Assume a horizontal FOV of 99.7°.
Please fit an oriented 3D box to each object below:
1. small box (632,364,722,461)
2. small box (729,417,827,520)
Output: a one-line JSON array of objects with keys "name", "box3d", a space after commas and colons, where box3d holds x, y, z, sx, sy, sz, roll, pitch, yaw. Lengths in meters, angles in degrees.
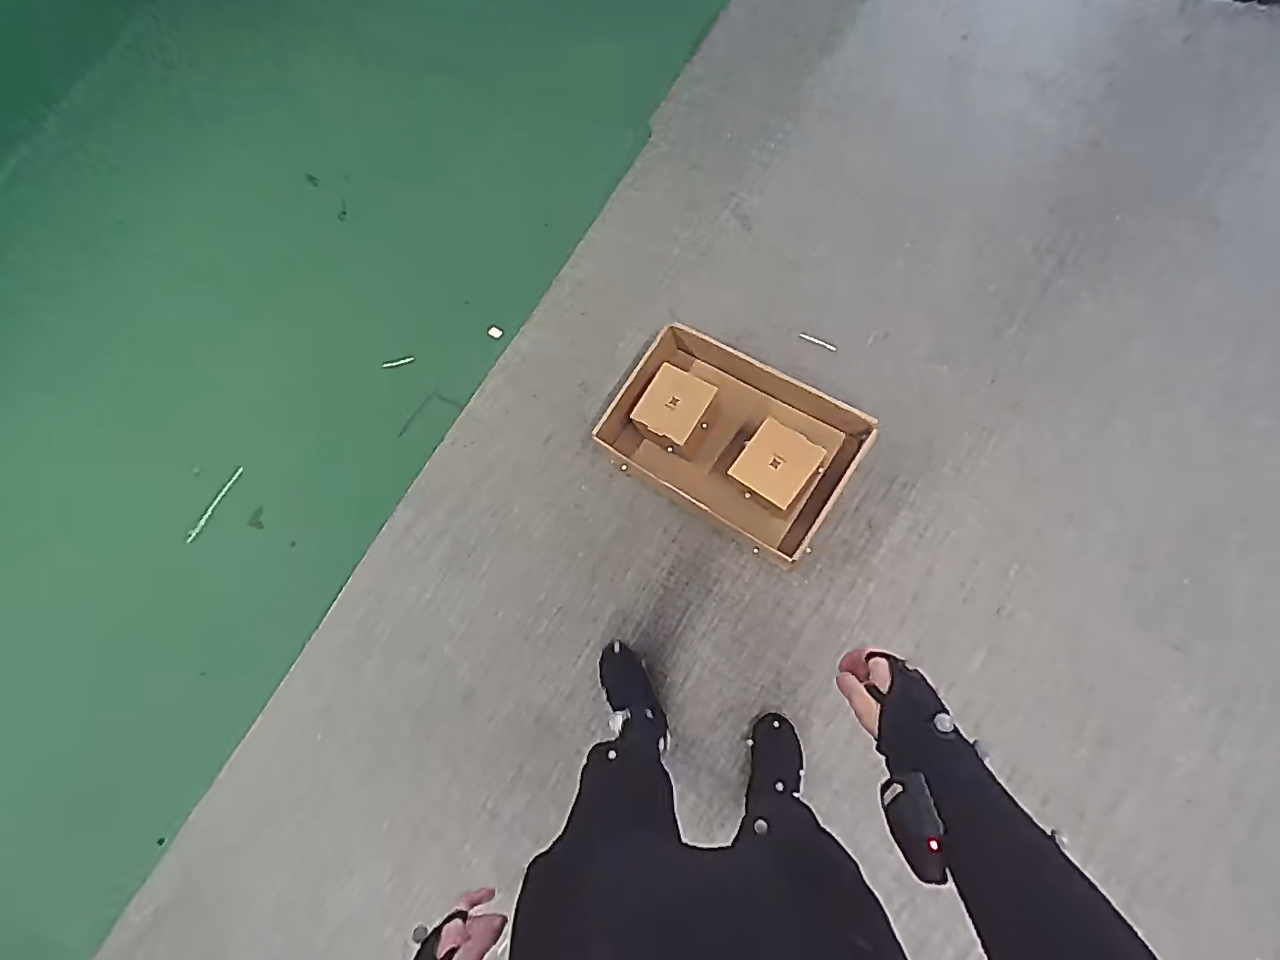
[{"name": "small box", "box3d": [0.108, -0.174, 1.455, 0.168, 0.176, 0.179, 31, 84, 18]}, {"name": "small box", "box3d": [0.347, -0.021, 1.354, 0.168, 0.176, 0.179, 35, 86, 20]}]
